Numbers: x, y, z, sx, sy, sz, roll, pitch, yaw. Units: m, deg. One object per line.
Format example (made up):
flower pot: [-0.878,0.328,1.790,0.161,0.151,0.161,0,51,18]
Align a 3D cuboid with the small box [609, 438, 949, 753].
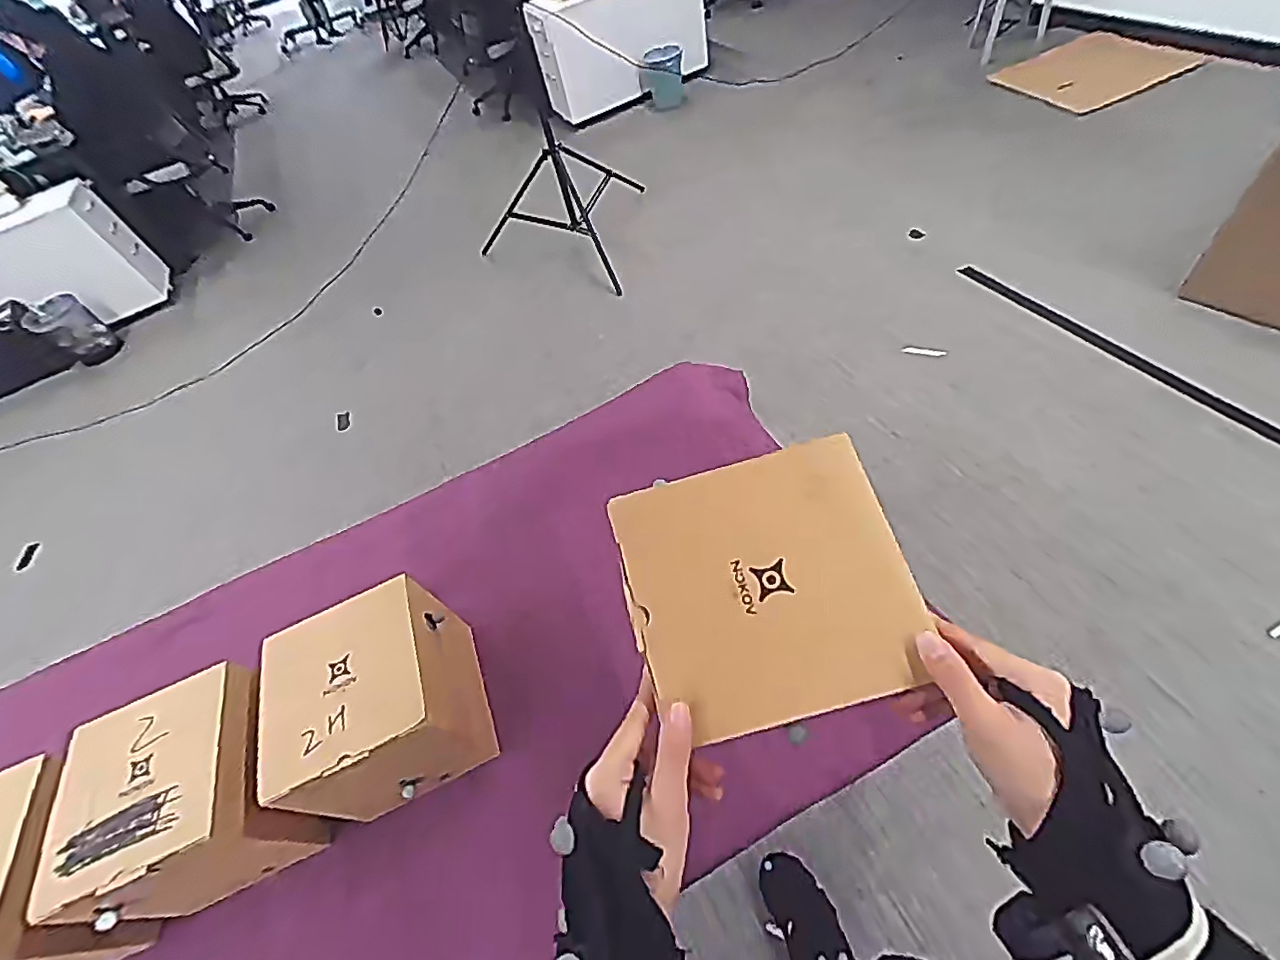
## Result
small box: [0.090,0.093,0.420,0.179,0.176,0.168,-17,68,3]
